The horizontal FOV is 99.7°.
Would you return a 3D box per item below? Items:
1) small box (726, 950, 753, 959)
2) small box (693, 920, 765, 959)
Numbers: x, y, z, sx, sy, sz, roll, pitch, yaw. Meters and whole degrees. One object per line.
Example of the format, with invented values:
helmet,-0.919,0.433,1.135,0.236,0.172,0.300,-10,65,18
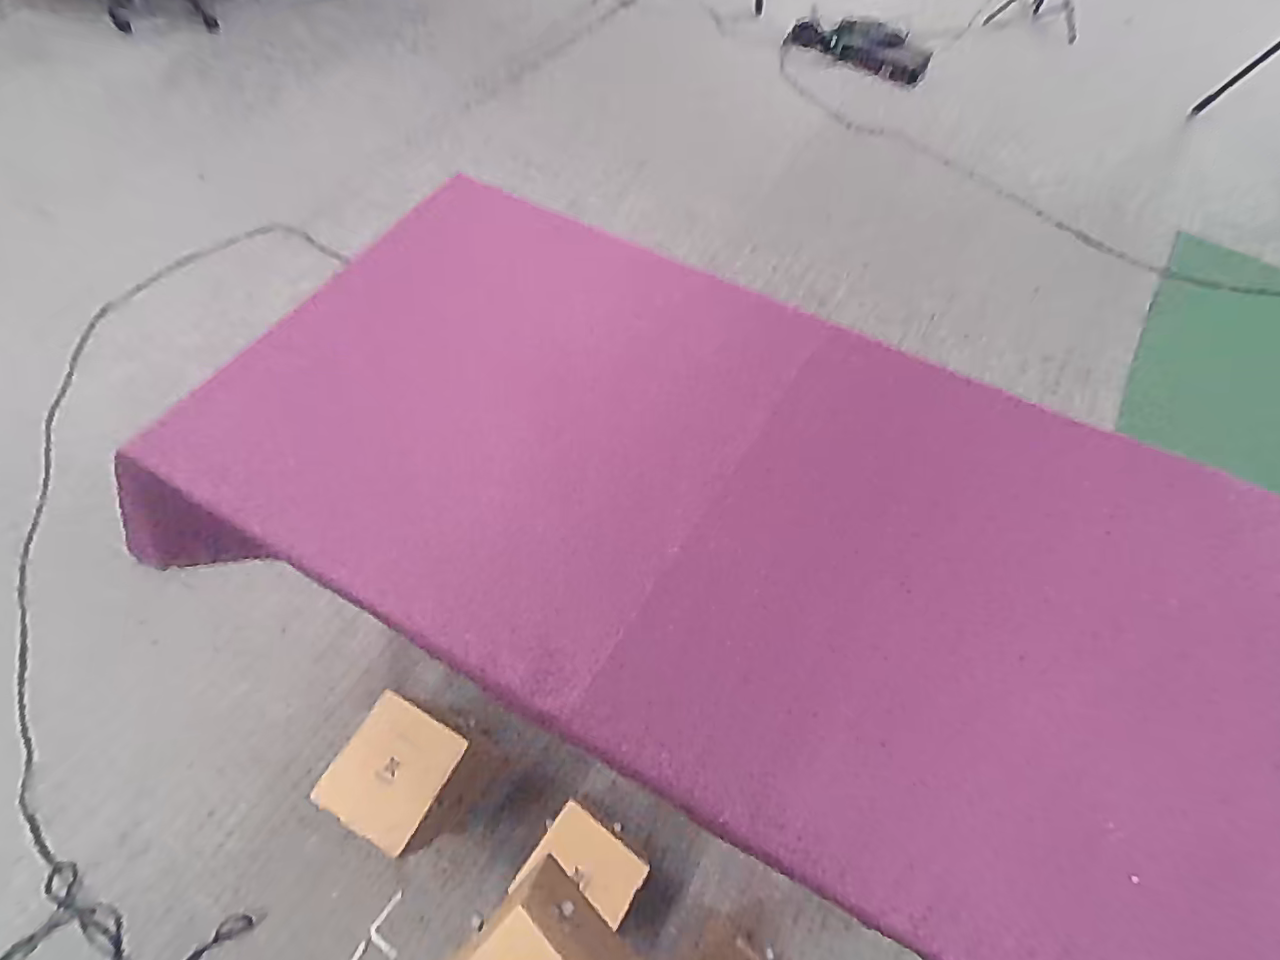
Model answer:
small box,0.162,0.805,0.733,0.168,0.176,0.179,34,67,15
small box,0.158,0.877,0.881,0.168,0.176,0.179,38,66,17
